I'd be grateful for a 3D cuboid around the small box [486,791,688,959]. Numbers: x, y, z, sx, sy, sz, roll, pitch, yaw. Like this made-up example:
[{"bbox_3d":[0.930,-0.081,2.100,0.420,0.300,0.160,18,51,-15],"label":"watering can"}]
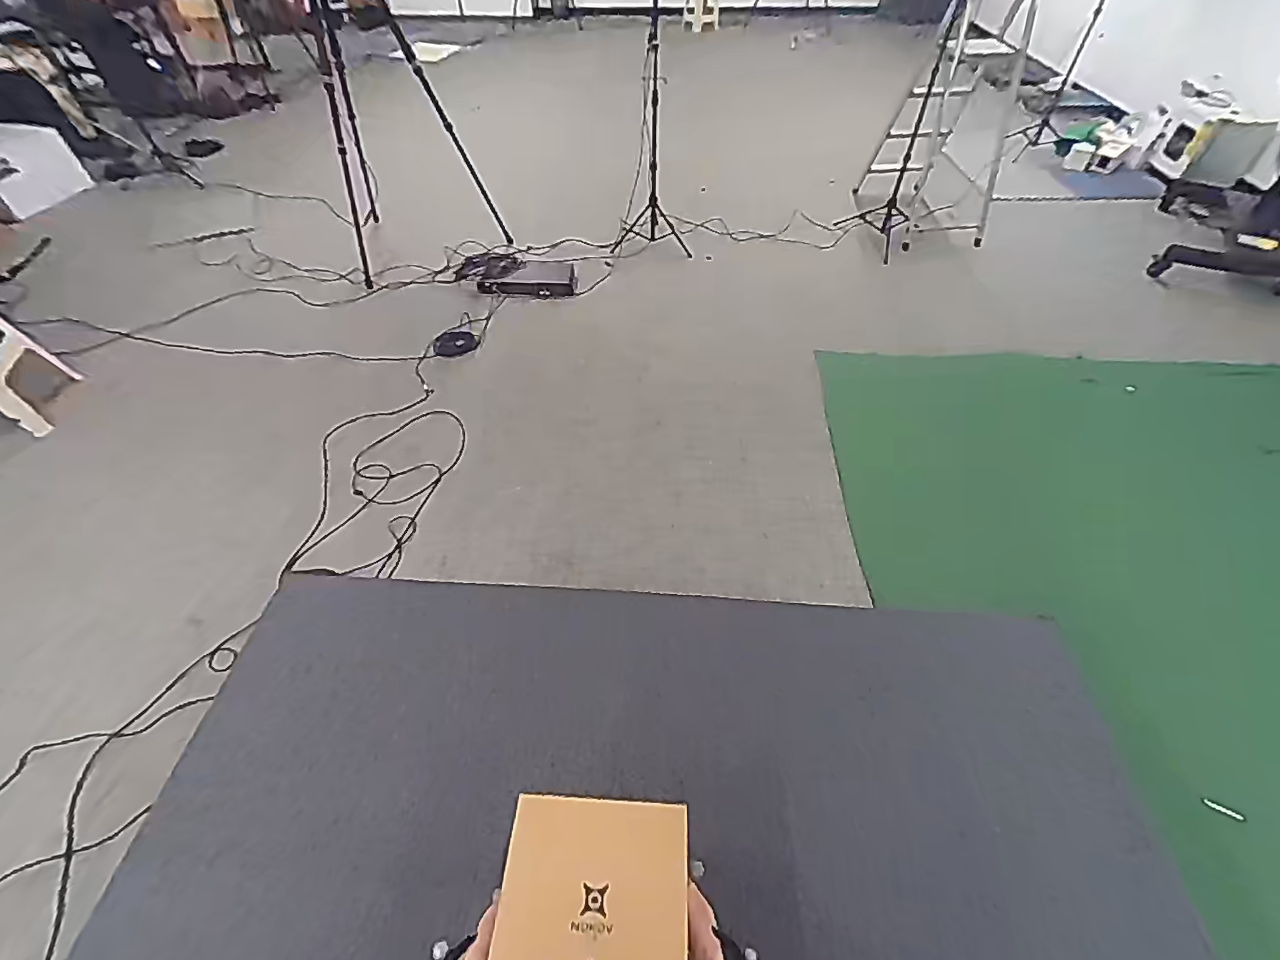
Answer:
[{"bbox_3d":[-0.041,0.423,0.518,0.168,0.176,0.179,2,46,3],"label":"small box"}]
